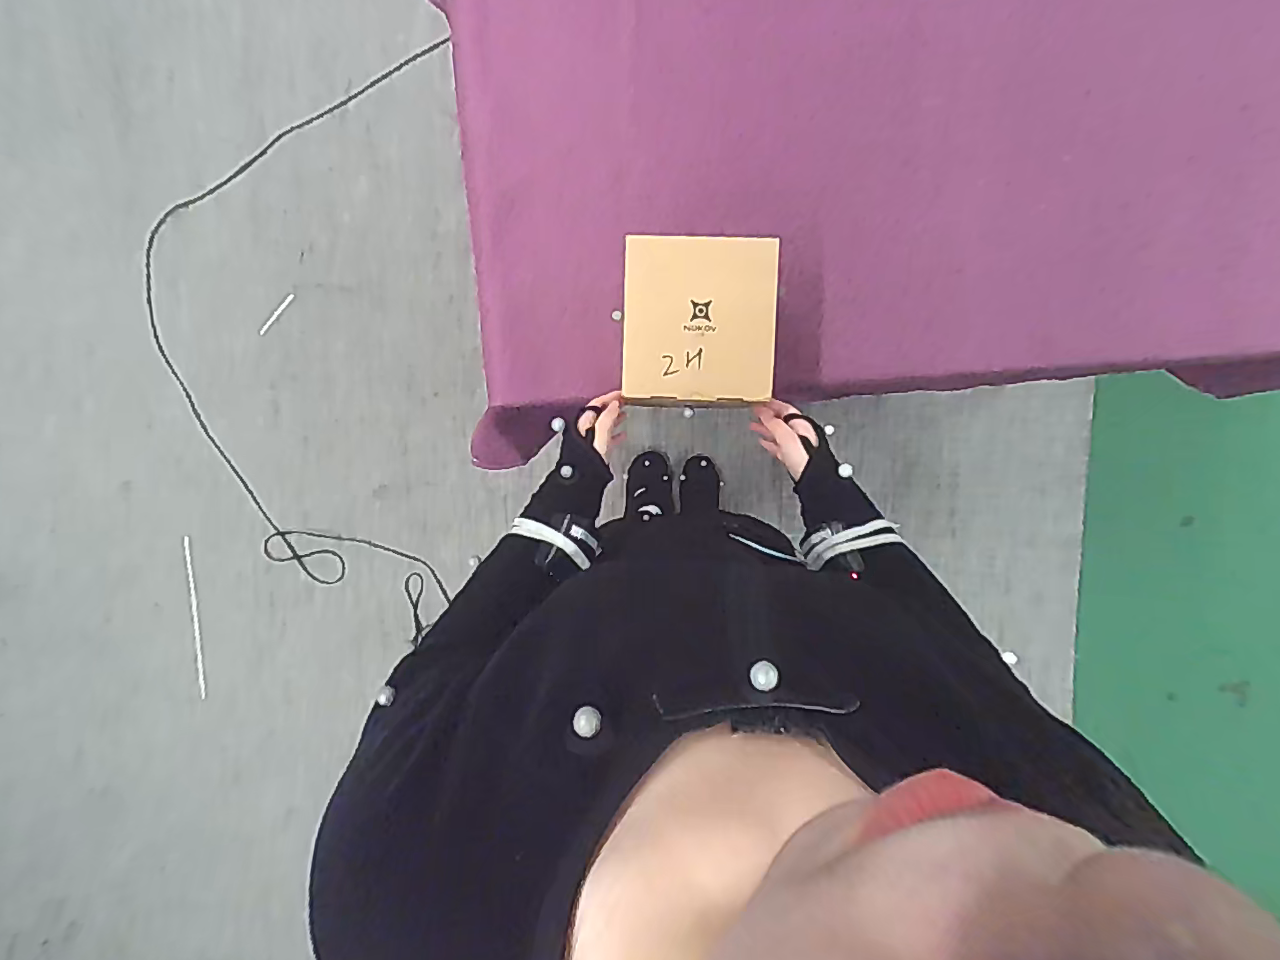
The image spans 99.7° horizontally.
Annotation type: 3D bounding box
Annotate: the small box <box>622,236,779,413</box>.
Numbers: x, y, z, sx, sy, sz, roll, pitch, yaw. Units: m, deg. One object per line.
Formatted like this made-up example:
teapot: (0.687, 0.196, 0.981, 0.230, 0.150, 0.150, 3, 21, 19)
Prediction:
small box: (0.066, -0.178, 0.662, 0.168, 0.176, 0.179, 2, 94, 2)
